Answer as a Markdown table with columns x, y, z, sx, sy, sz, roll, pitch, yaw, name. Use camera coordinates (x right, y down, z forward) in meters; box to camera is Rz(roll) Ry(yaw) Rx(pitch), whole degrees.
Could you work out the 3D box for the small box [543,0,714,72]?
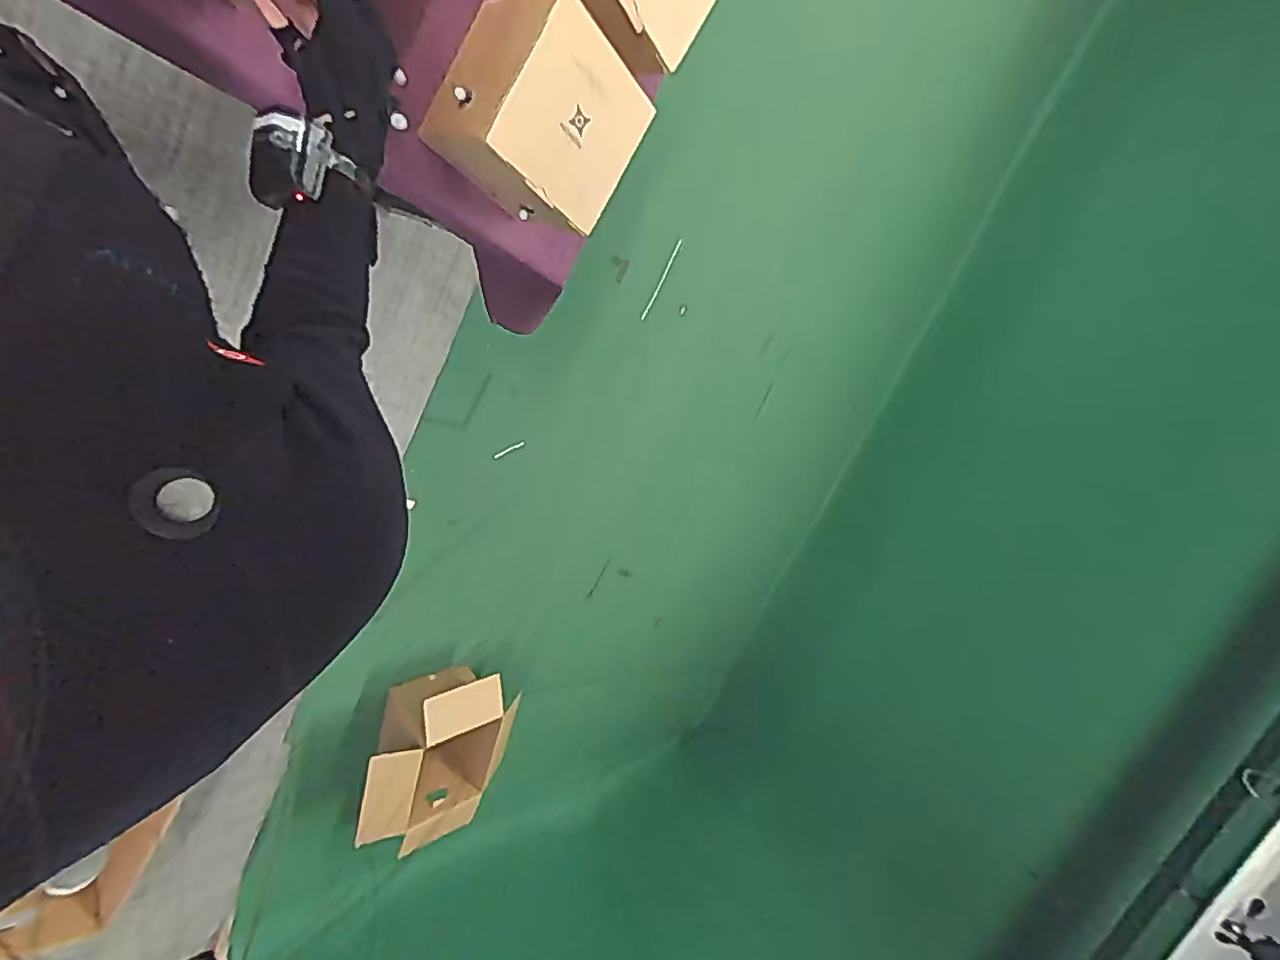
| x | y | z | sx | sy | sz | roll | pitch | yaw | name |
| --- | --- | --- | --- | --- | --- | --- | --- | --- | --- |
| -0.018 | -0.614 | 0.623 | 0.168 | 0.176 | 0.179 | 28 | 95 | -53 | small box |
